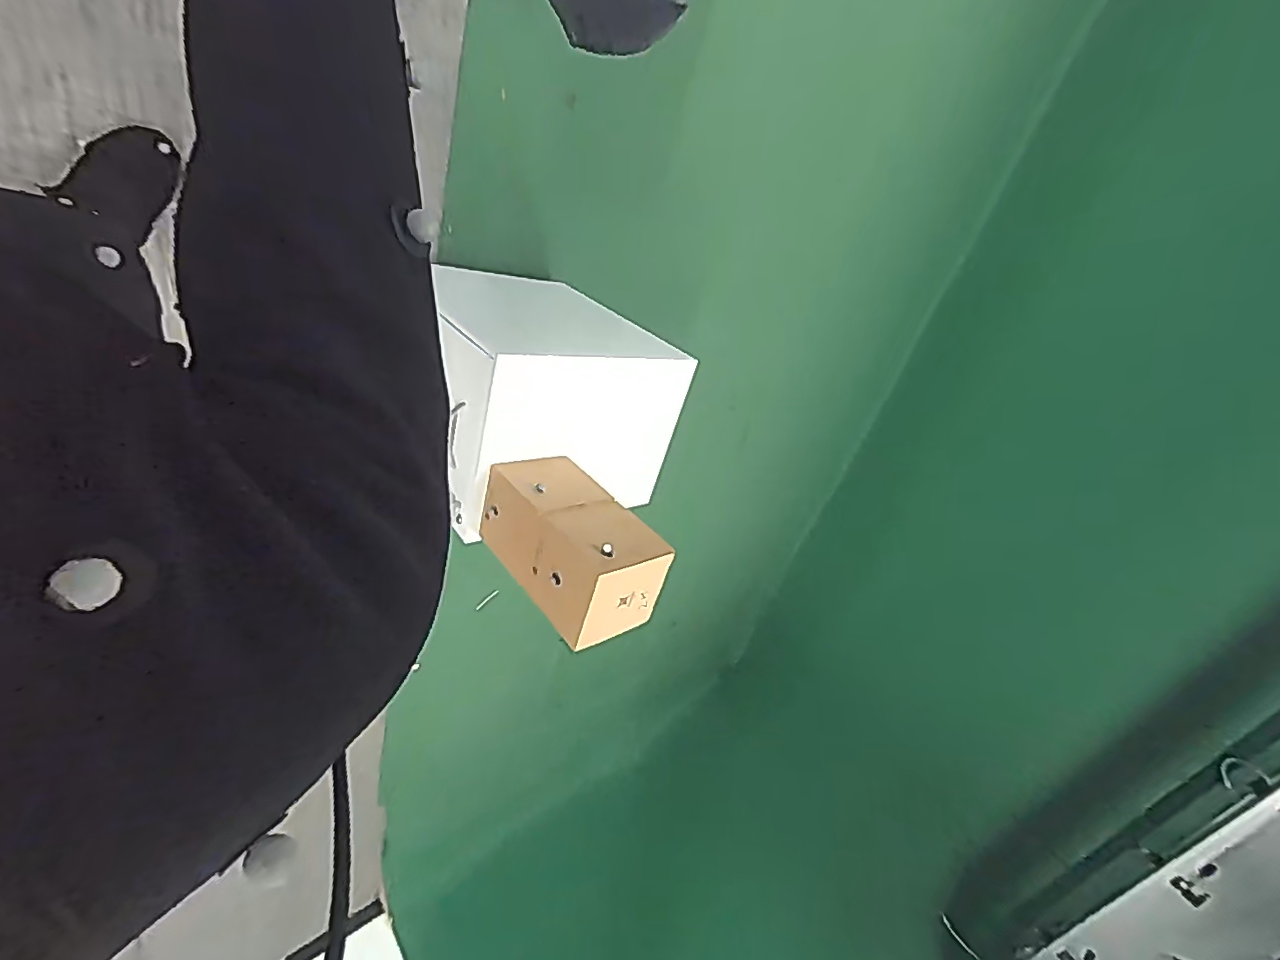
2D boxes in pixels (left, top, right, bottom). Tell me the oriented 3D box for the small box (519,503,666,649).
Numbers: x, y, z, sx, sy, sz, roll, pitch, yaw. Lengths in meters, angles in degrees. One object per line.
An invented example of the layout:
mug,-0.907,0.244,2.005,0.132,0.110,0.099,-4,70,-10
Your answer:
small box,-0.090,0.158,0.954,0.179,0.176,0.168,-10,128,-45
